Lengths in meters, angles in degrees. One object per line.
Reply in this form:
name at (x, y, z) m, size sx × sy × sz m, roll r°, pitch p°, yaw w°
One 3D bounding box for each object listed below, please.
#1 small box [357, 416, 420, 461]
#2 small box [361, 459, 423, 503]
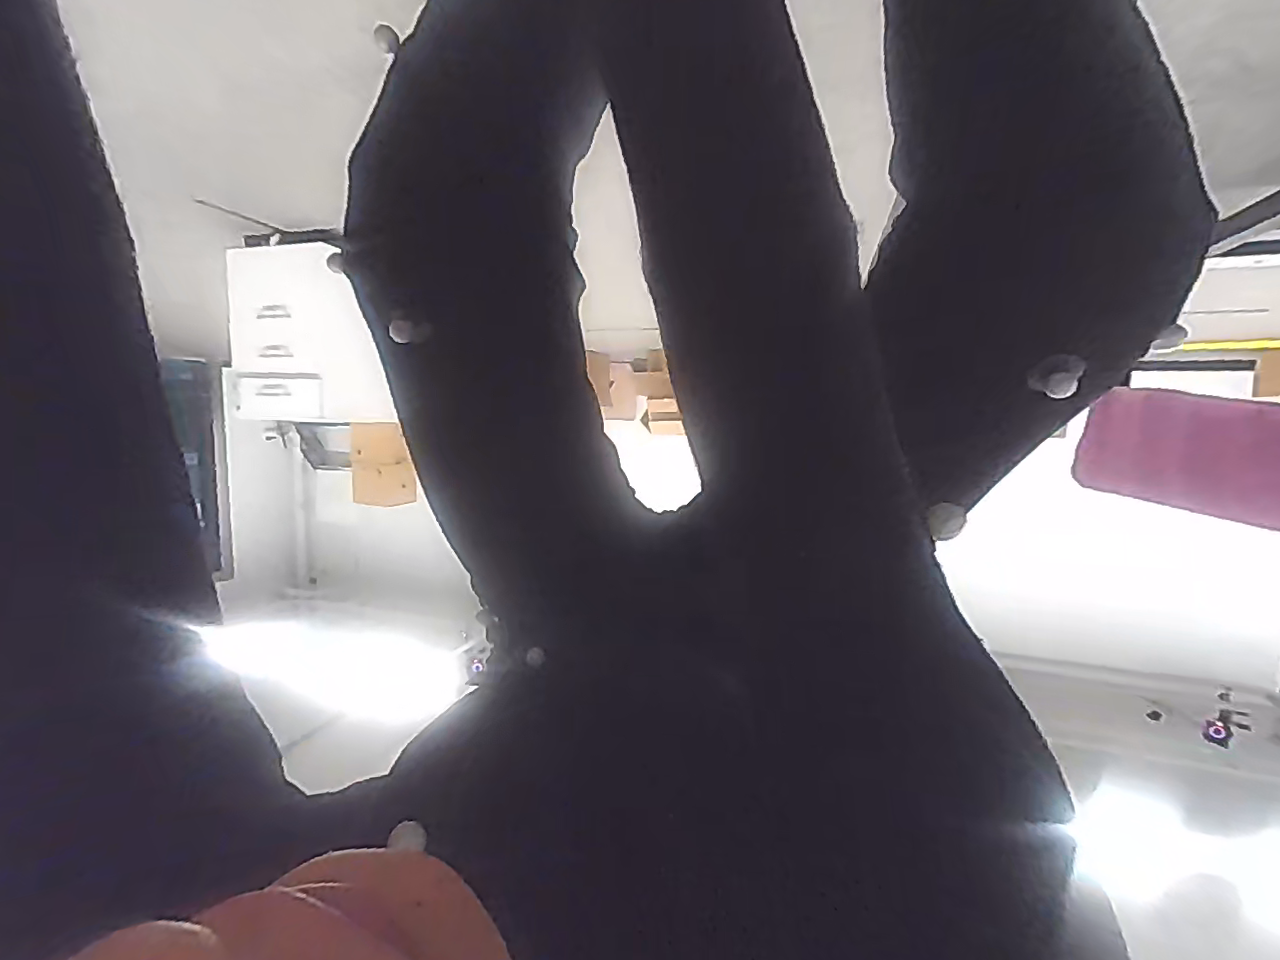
small box at (-1.001, -0.170, 2.161) m, size 0.179 × 0.176 × 0.168 m, roll 5°, pitch -172°, yaw 18°
small box at (-1.002, -0.006, 2.181) m, size 0.168 × 0.176 × 0.179 m, roll 5°, pitch -172°, yaw 17°
